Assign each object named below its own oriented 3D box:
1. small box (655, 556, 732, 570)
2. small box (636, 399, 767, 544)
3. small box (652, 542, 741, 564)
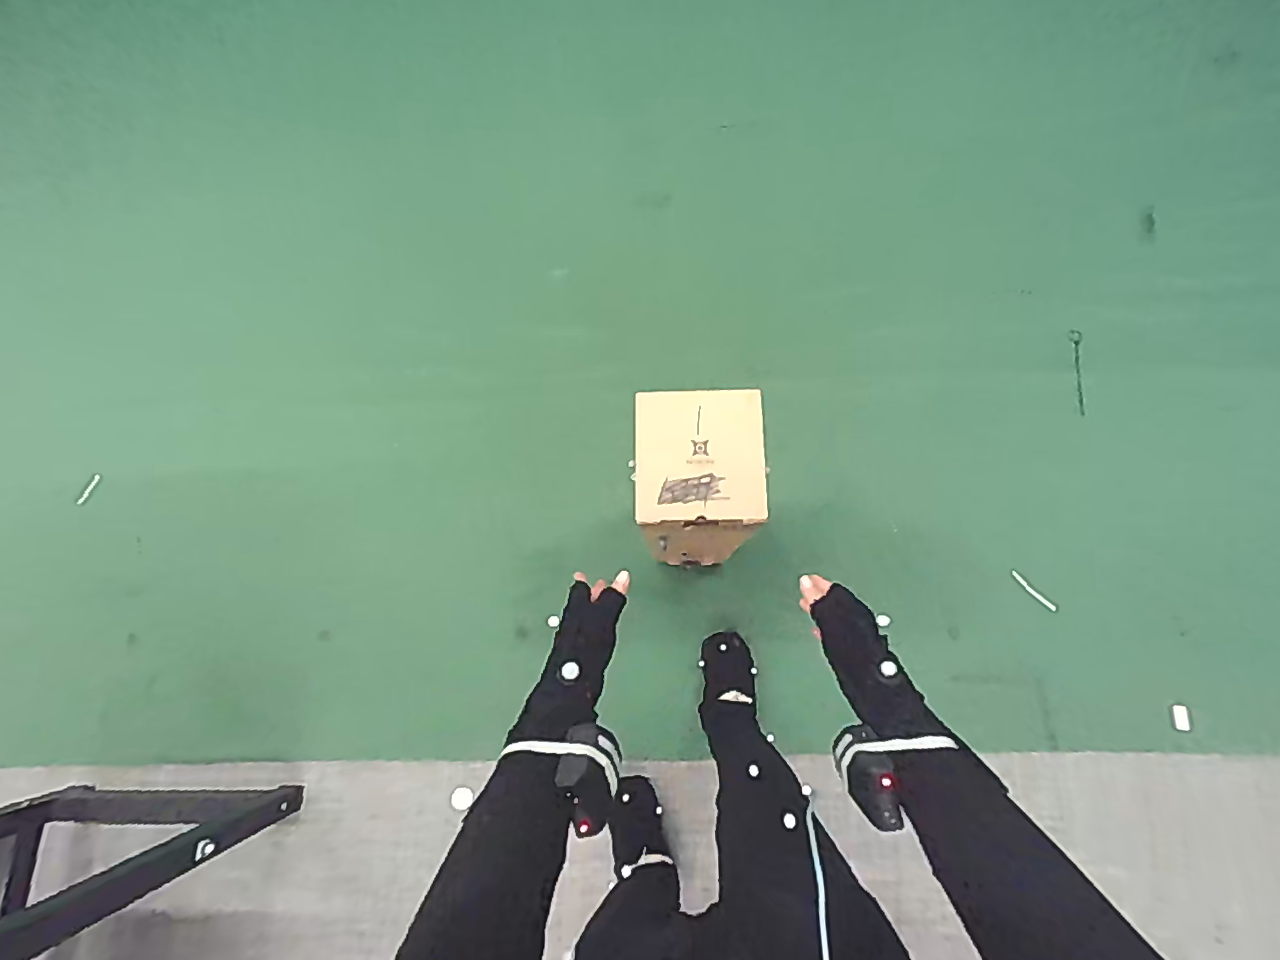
[{"bbox_3d":[0.121,0.111,1.243,0.168,0.176,0.179,0,77,5],"label":"small box"},{"bbox_3d":[0.083,-0.002,0.766,0.168,0.176,0.179,-1,76,4],"label":"small box"},{"bbox_3d":[0.108,0.073,1.086,0.168,0.176,0.179,-2,77,4],"label":"small box"}]
